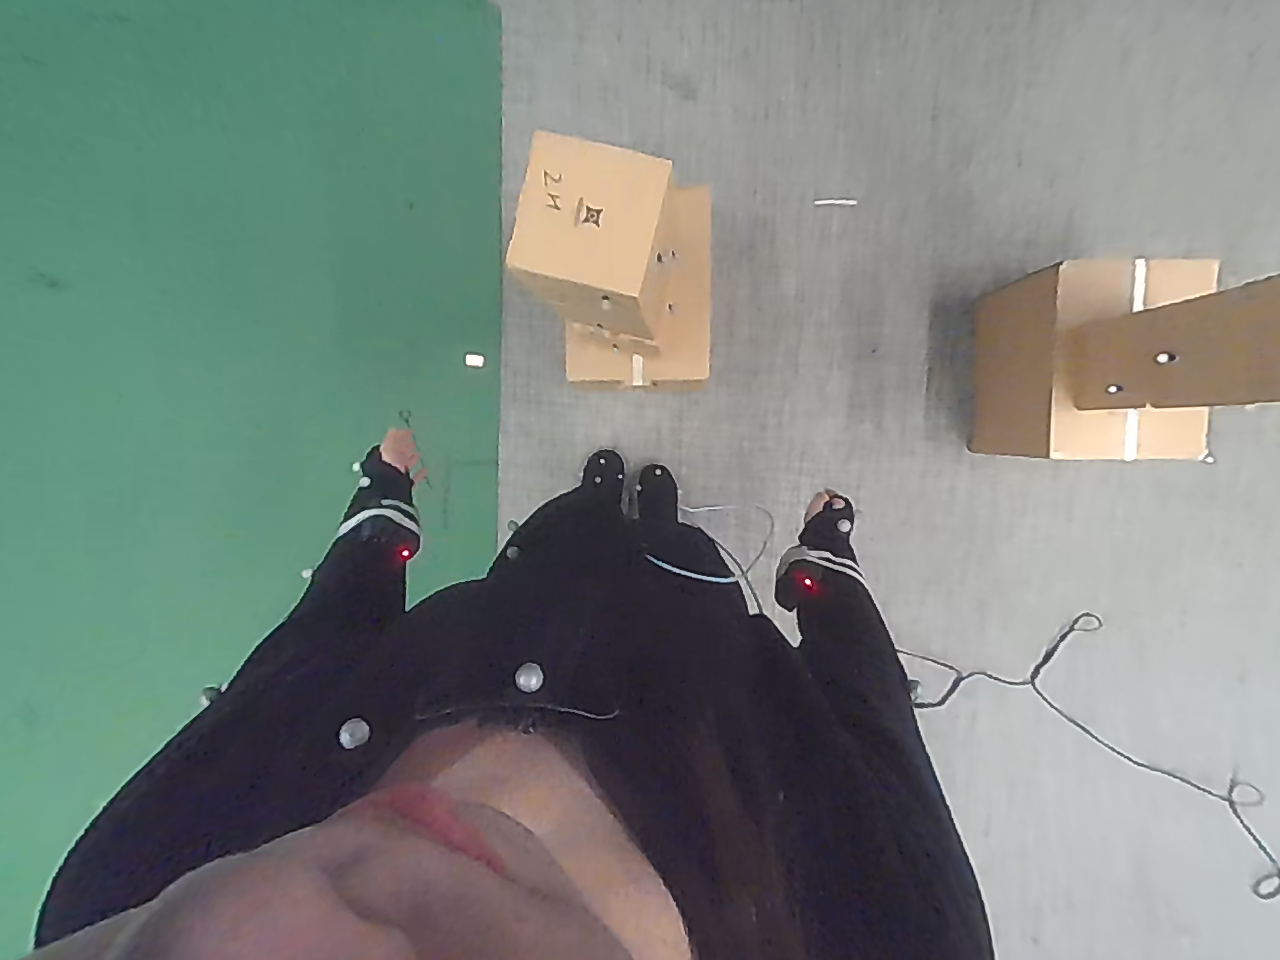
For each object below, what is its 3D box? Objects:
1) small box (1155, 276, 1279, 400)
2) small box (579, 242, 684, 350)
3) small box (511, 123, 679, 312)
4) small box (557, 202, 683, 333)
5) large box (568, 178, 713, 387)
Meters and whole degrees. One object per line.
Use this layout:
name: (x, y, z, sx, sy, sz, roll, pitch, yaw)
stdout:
small box: (0.966, -0.223, 0.850, 0.168, 0.176, 0.179, -8, 96, 6)
small box: (-0.013, -0.367, 1.062, 0.168, 0.176, 0.179, 11, 97, 3)
small box: (-0.051, -0.341, 0.738, 0.179, 0.176, 0.168, 16, 97, 3)
small box: (-0.030, -0.361, 0.900, 0.168, 0.176, 0.179, 15, 98, 3)
large box: (0.010, -0.442, 1.297, 0.320, 0.320, 0.408, 0, 95, 4)
